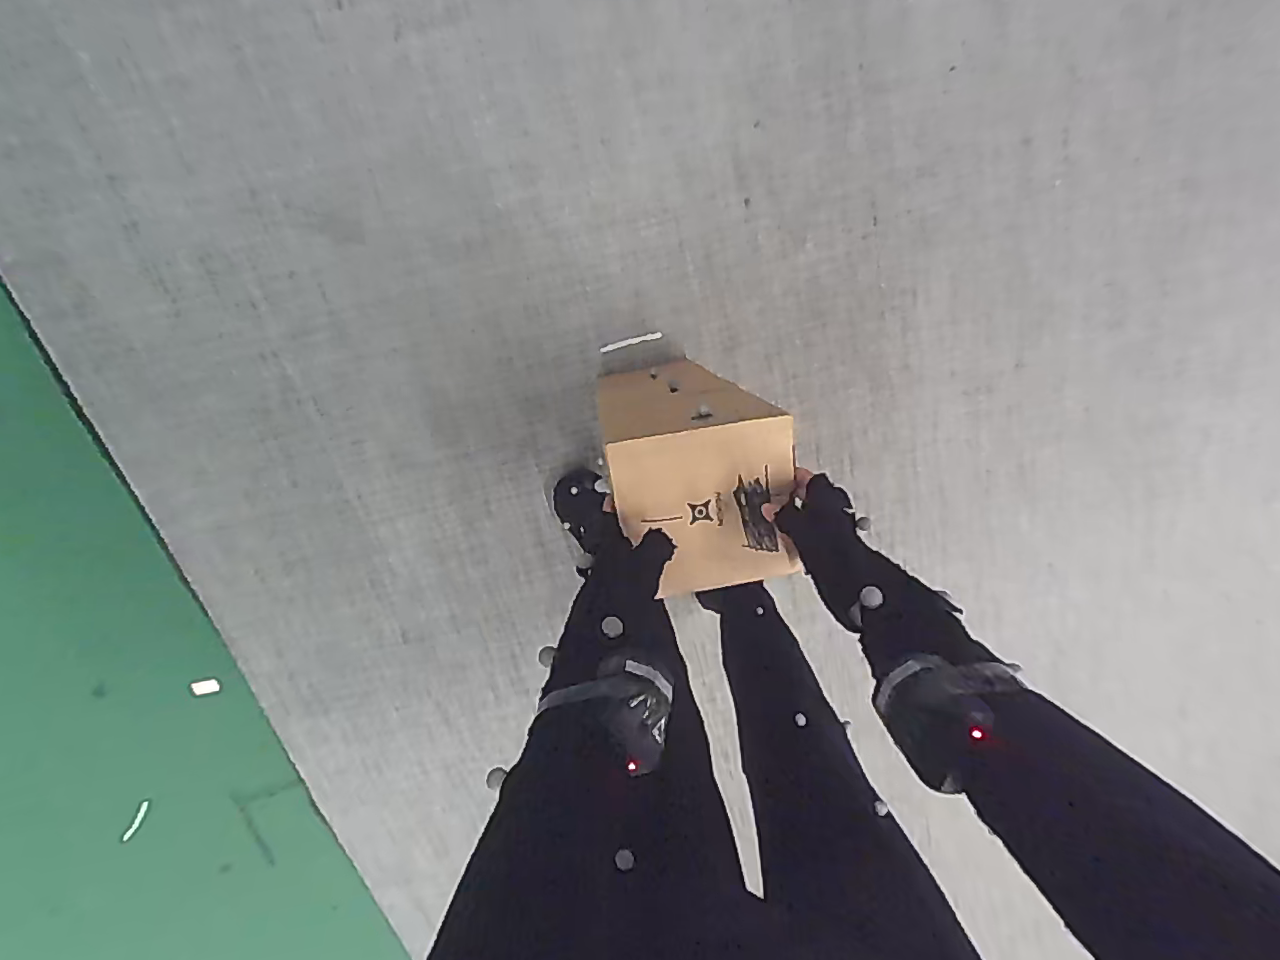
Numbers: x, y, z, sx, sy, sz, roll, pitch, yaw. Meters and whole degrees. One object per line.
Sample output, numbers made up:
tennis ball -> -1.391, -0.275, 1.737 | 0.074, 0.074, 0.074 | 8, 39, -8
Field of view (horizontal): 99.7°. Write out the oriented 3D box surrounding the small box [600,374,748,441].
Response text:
small box -> 0.046, -0.045, 0.749 | 0.179, 0.176, 0.168 | -11, 109, -3

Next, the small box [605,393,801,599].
small box -> 0.060, 0.005, 0.593 | 0.179, 0.176, 0.168 | -9, 108, -3

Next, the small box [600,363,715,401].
small box -> 0.034, -0.094, 0.905 | 0.179, 0.176, 0.168 | -12, 108, -1
